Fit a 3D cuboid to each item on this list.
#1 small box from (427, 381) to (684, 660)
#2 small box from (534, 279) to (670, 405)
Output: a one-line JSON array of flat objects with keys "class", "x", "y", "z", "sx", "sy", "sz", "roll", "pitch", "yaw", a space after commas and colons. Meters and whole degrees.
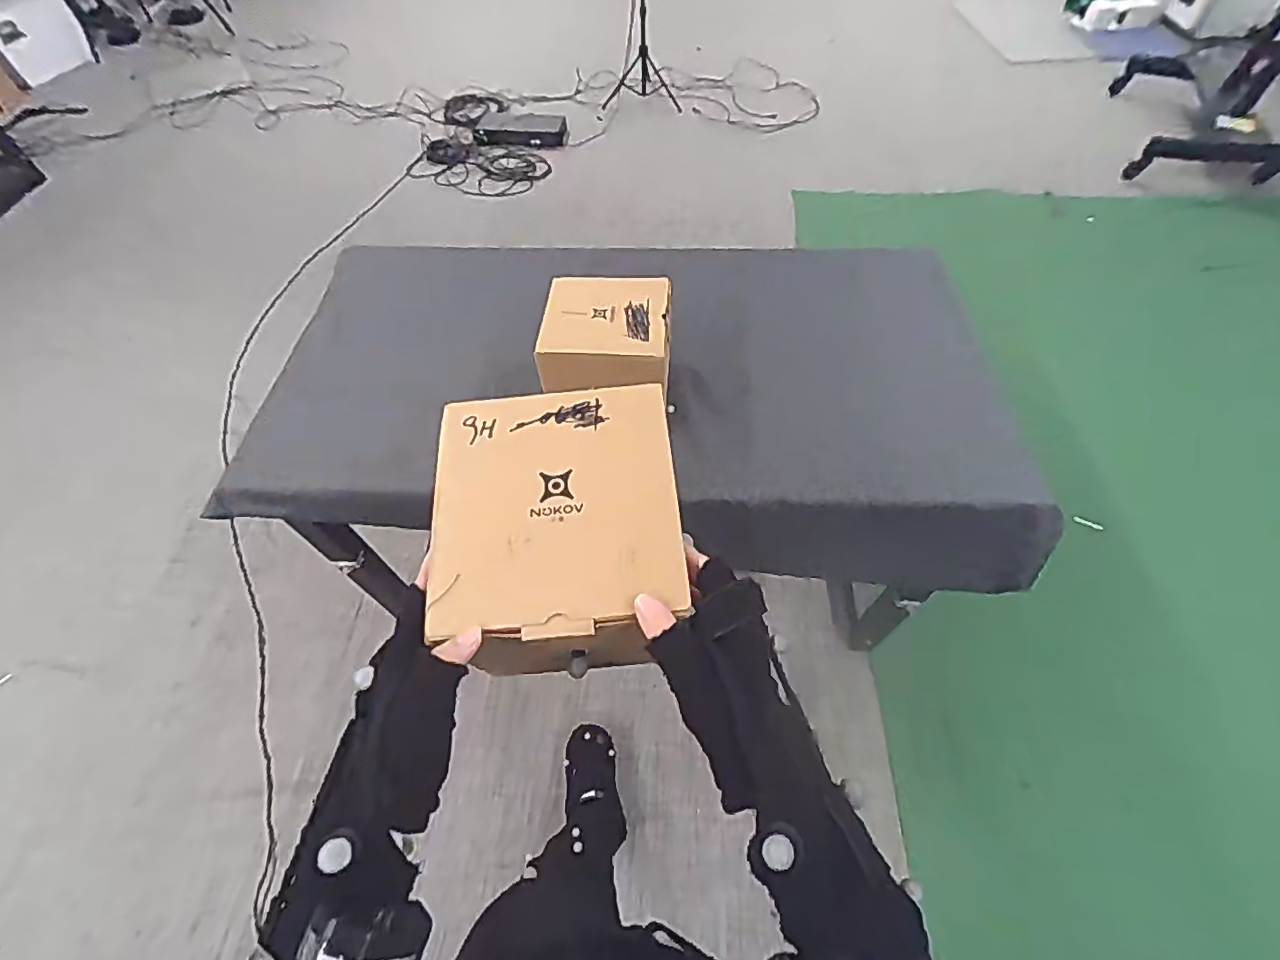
[{"class": "small box", "x": -0.055, "y": 0.045, "z": 0.441, "sx": 0.168, "sy": 0.176, "sz": 0.179, "roll": -5, "pitch": 64, "yaw": -1}, {"class": "small box", "x": -0.047, "y": -0.180, "z": 0.820, "sx": 0.179, "sy": 0.176, "sz": 0.168, "roll": 3, "pitch": 56, "yaw": 4}]
